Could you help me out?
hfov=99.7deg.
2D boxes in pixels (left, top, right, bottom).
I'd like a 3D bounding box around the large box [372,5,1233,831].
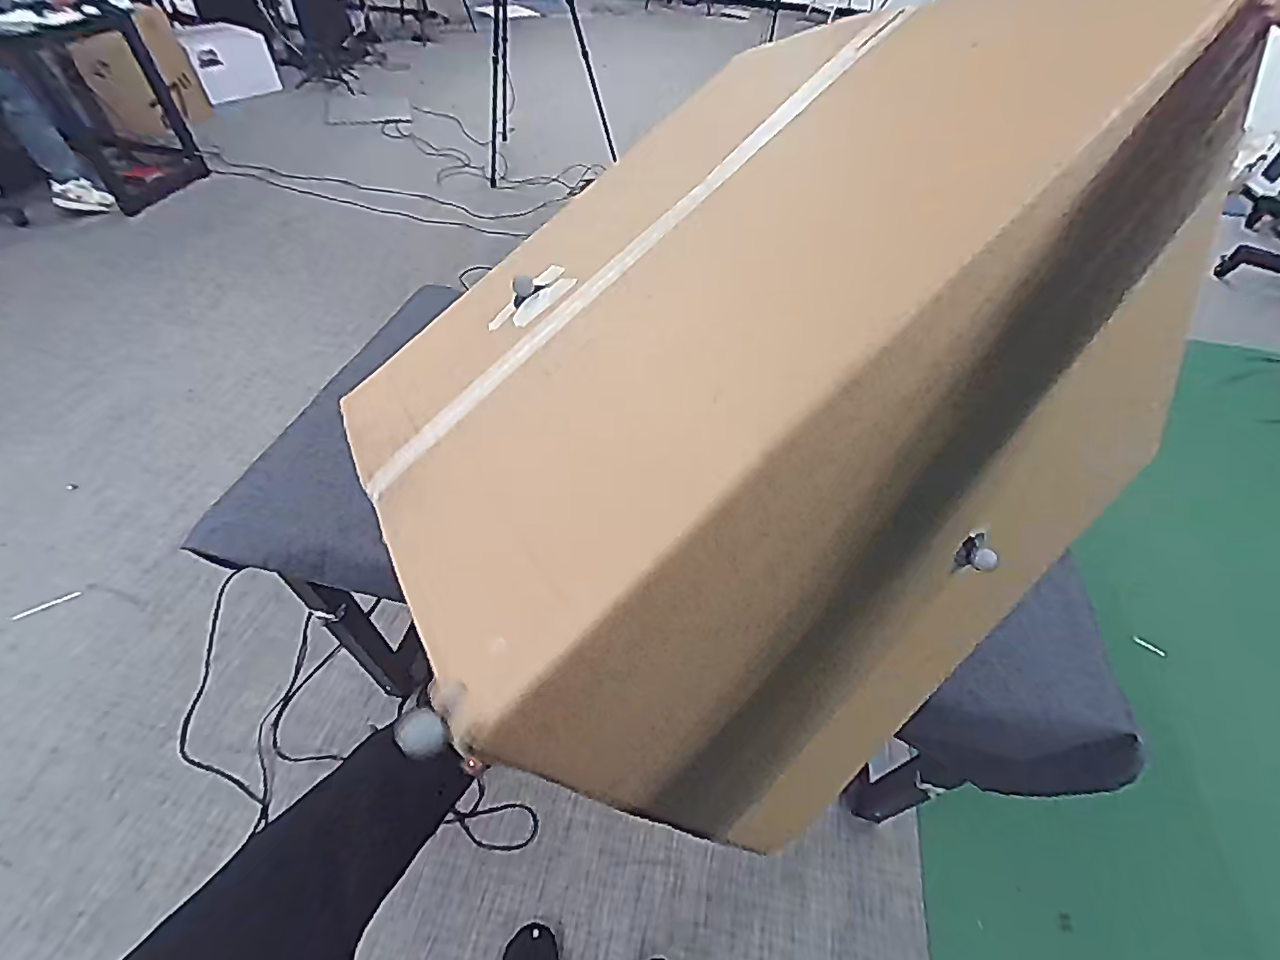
[{"bbox_3d":[0.094,-0.034,0.407,0.408,0.320,0.320,-46,43,-5],"label":"large box"}]
